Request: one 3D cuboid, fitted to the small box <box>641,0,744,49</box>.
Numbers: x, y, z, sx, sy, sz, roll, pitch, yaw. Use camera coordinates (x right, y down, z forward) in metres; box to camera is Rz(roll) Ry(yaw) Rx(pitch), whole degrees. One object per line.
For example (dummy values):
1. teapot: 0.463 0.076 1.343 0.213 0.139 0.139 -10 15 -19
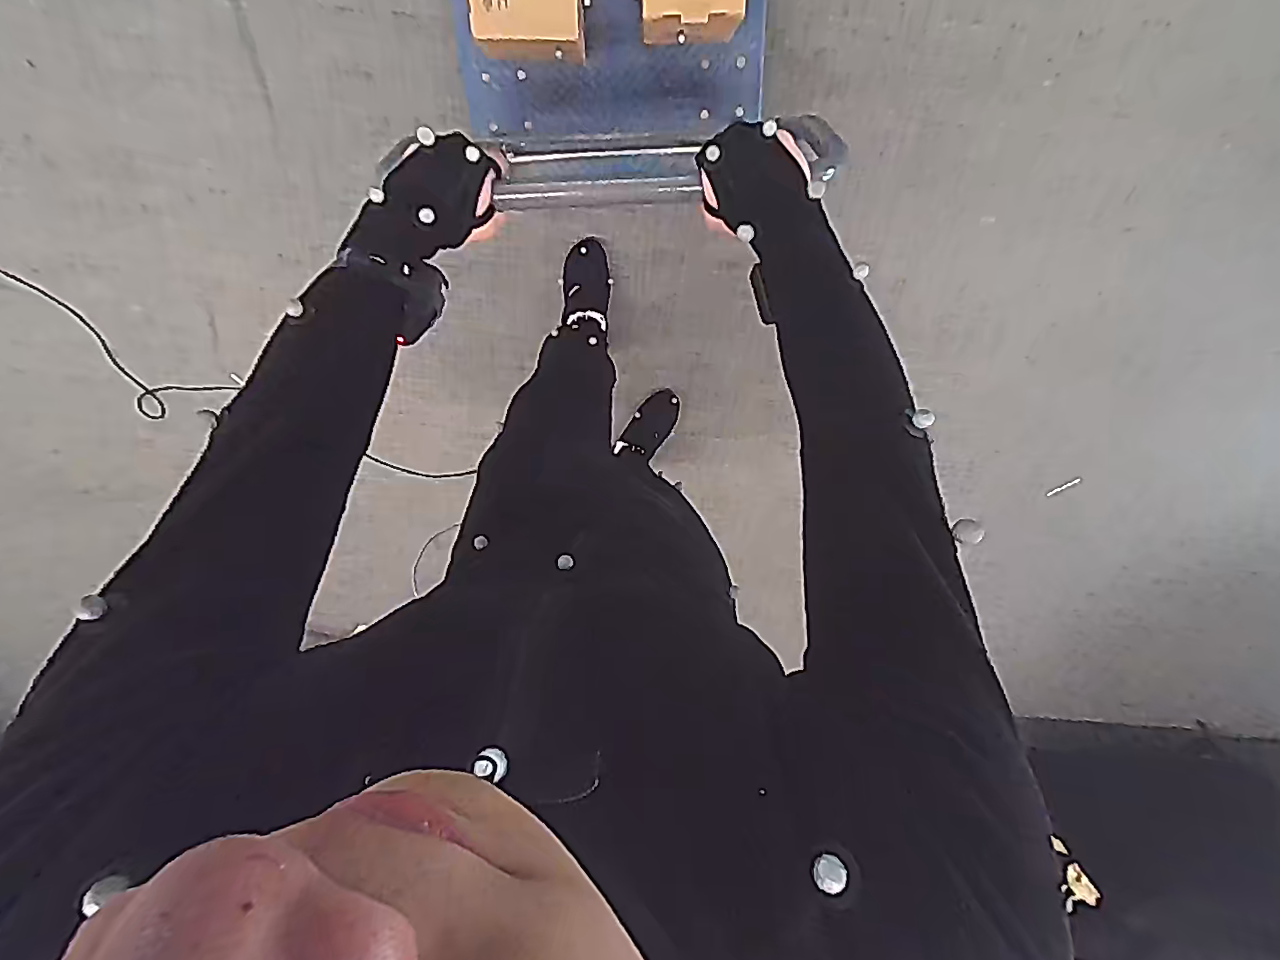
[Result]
1. small box: 0.085 -0.863 0.918 0.168 0.176 0.179 -2 118 1
